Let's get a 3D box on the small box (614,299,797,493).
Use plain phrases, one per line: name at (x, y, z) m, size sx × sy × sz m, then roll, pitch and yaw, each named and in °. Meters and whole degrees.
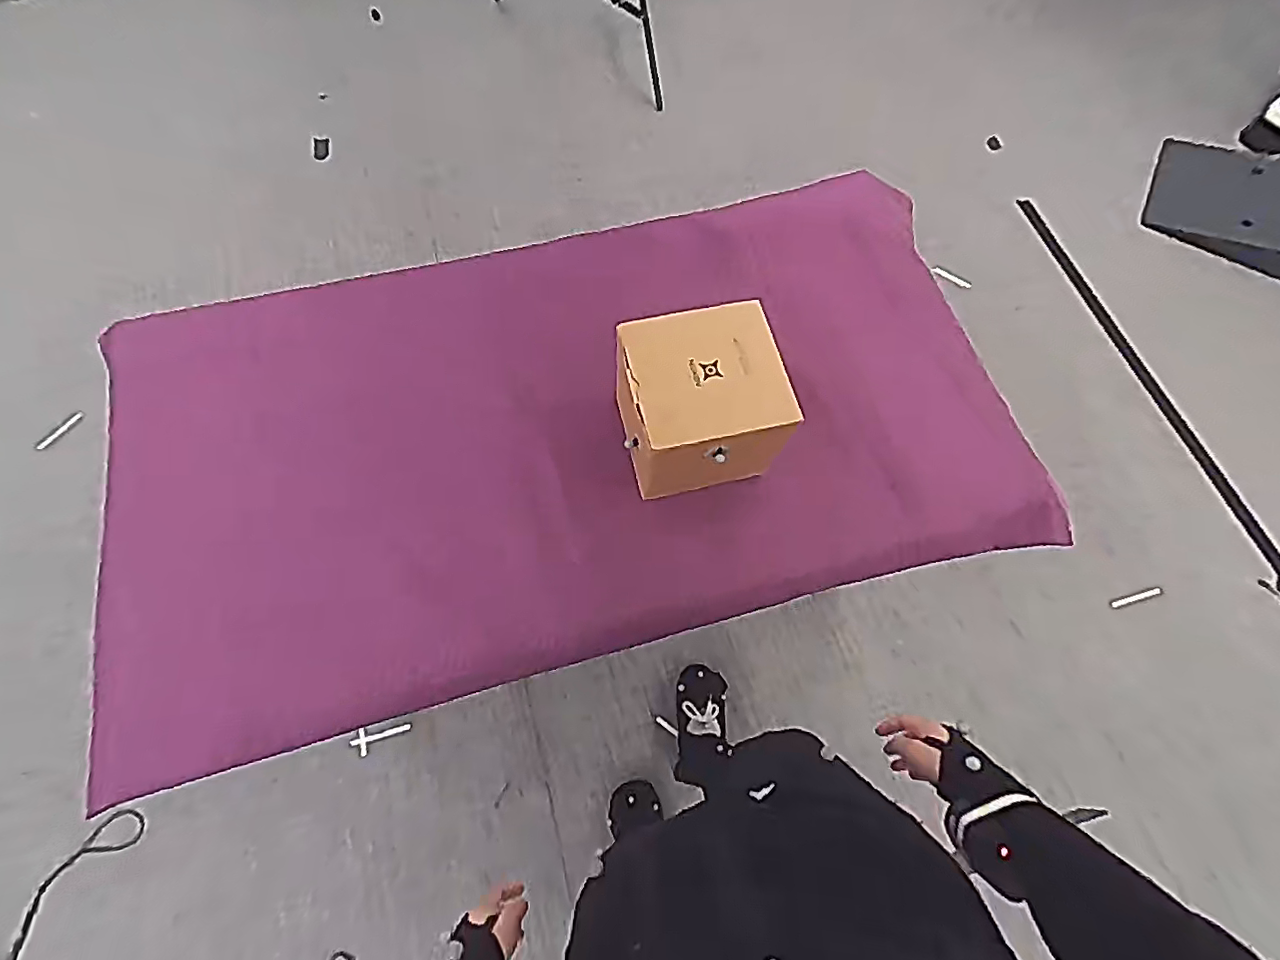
small box at (0.069, -0.096, 0.681) m, size 0.179 × 0.176 × 0.168 m, roll -12°, pitch 71°, yaw -7°
